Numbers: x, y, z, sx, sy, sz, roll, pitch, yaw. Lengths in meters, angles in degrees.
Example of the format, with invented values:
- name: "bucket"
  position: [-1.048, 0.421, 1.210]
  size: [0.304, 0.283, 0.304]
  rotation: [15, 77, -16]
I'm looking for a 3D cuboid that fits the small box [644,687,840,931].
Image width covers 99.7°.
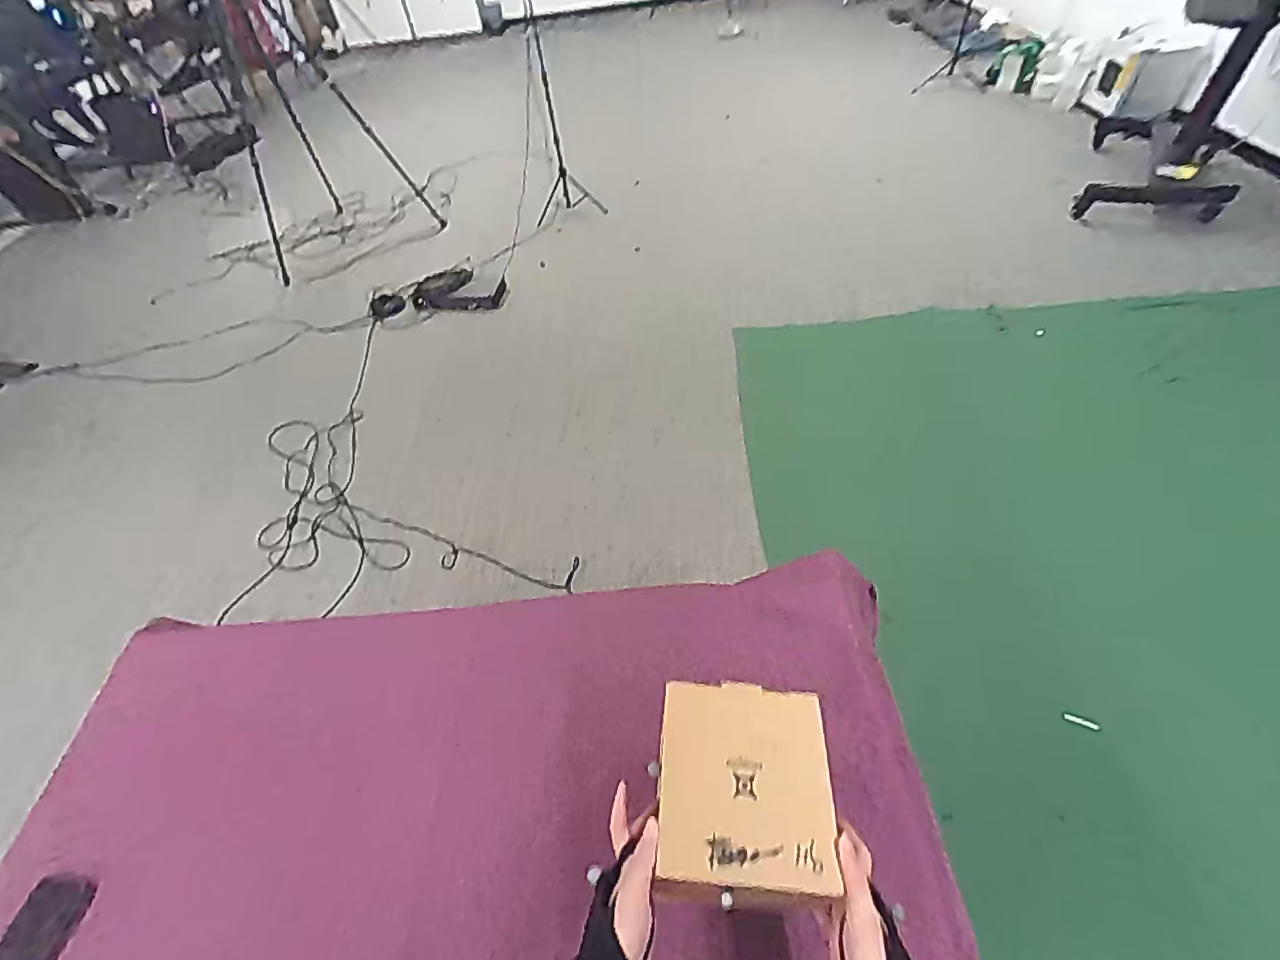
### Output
- name: "small box"
  position: [0.094, 0.345, 0.569]
  size: [0.168, 0.176, 0.179]
  rotation: [4, 46, 4]
